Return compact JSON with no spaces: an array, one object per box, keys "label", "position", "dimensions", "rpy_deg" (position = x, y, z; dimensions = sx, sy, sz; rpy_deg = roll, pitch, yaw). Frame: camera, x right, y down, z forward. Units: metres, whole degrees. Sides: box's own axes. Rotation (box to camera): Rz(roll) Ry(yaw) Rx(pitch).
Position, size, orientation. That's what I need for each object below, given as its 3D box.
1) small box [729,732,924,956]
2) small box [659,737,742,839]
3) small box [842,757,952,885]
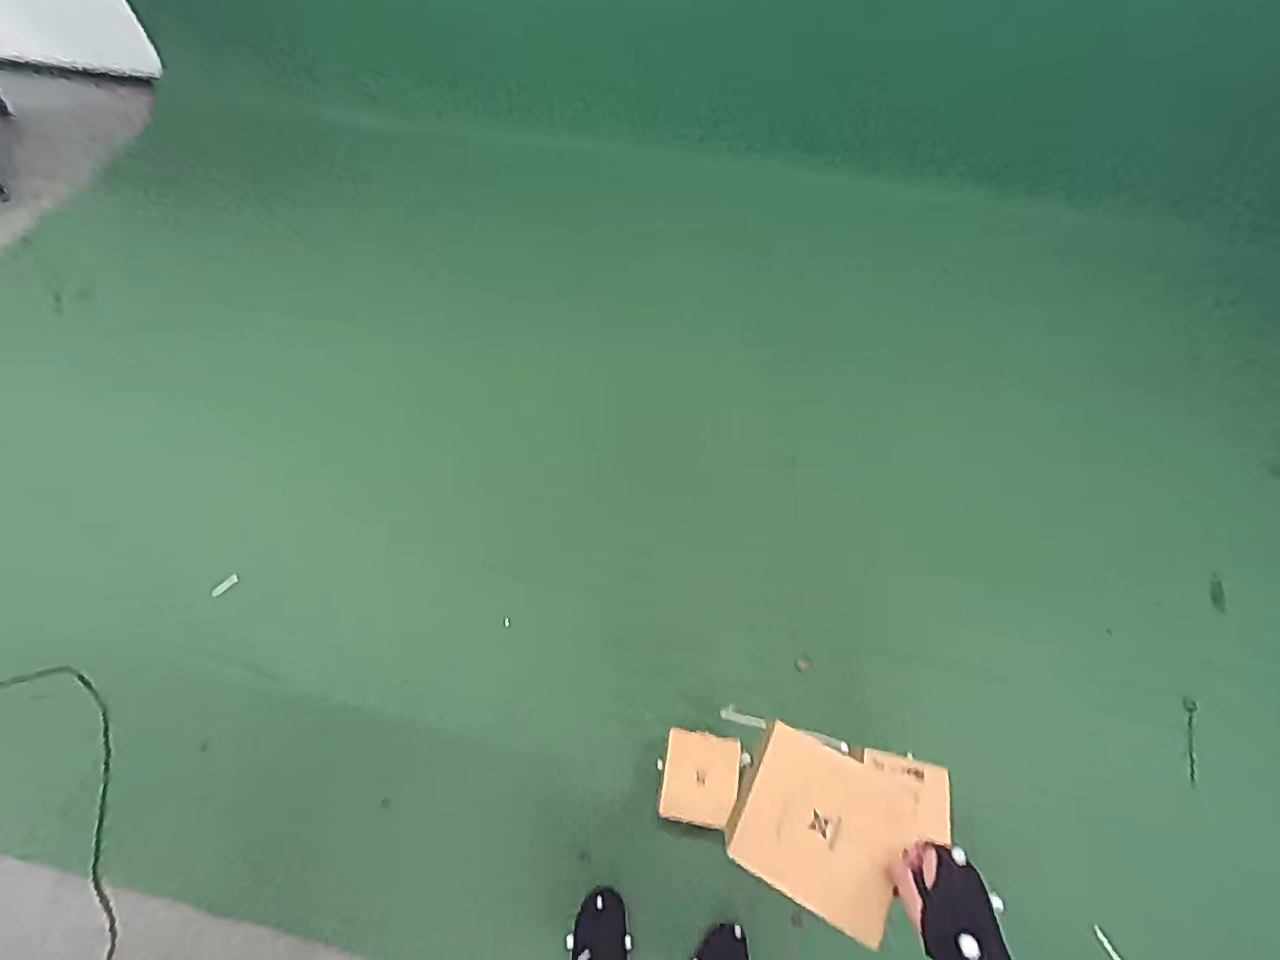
[{"label":"small box","position":[0.227,0.443,0.699],"dimensions":[0.179,0.176,0.168],"rpy_deg":[24,71,17]},{"label":"small box","position":[0.138,0.715,1.259],"dimensions":[0.168,0.176,0.179],"rpy_deg":[9,59,5]},{"label":"small box","position":[0.506,0.677,1.093],"dimensions":[0.168,0.176,0.179],"rpy_deg":[13,62,6]}]
